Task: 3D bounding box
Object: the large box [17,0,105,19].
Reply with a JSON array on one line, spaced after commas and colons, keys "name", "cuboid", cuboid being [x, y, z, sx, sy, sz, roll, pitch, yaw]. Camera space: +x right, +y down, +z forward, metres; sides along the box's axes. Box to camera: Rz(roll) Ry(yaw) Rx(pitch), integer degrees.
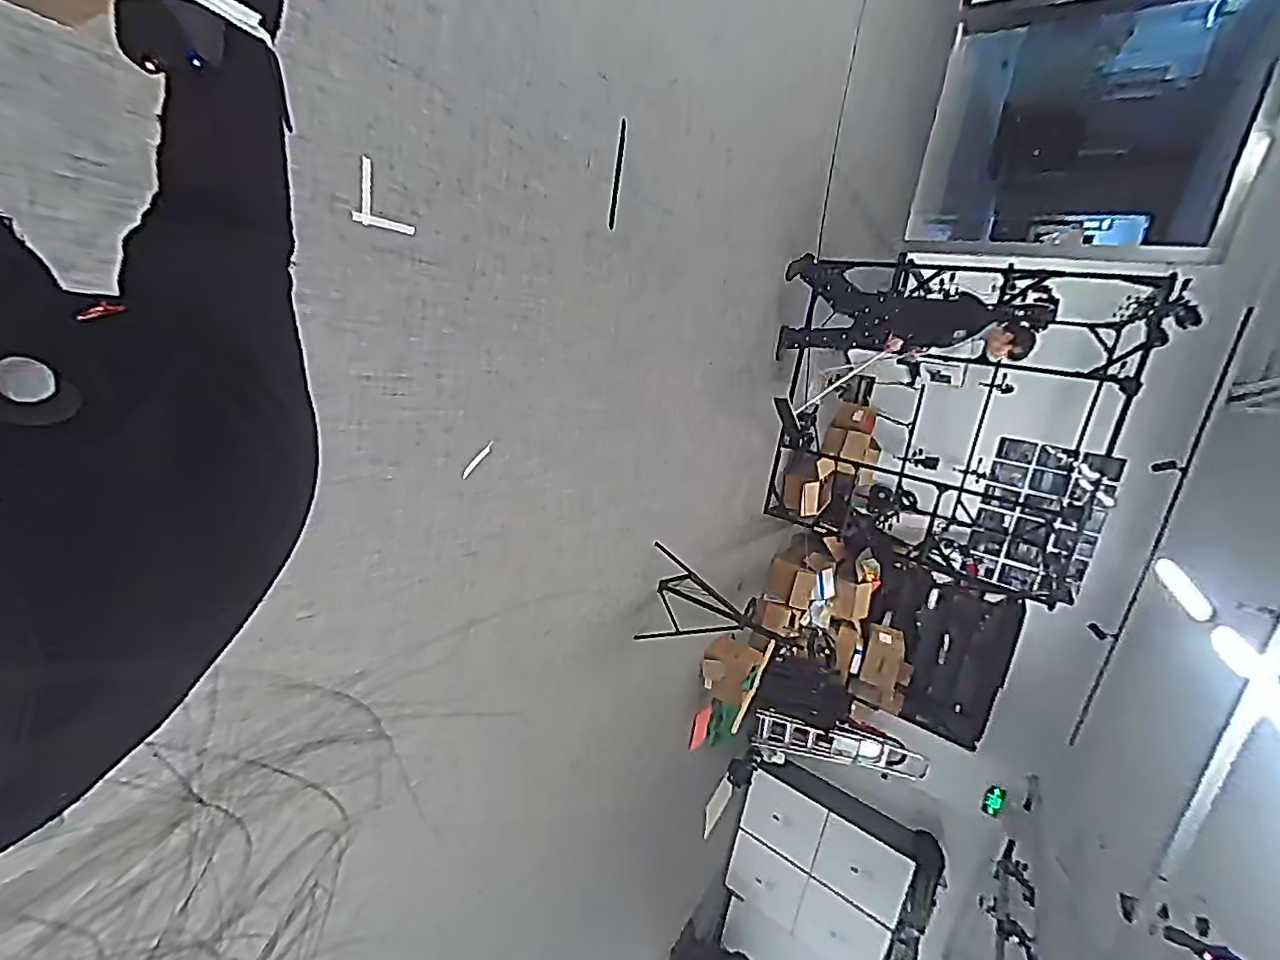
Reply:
[{"name": "large box", "cuboid": [-0.517, -0.525, 0.252, 0.408, 0.320, 0.320, -7, 115, -56]}]
